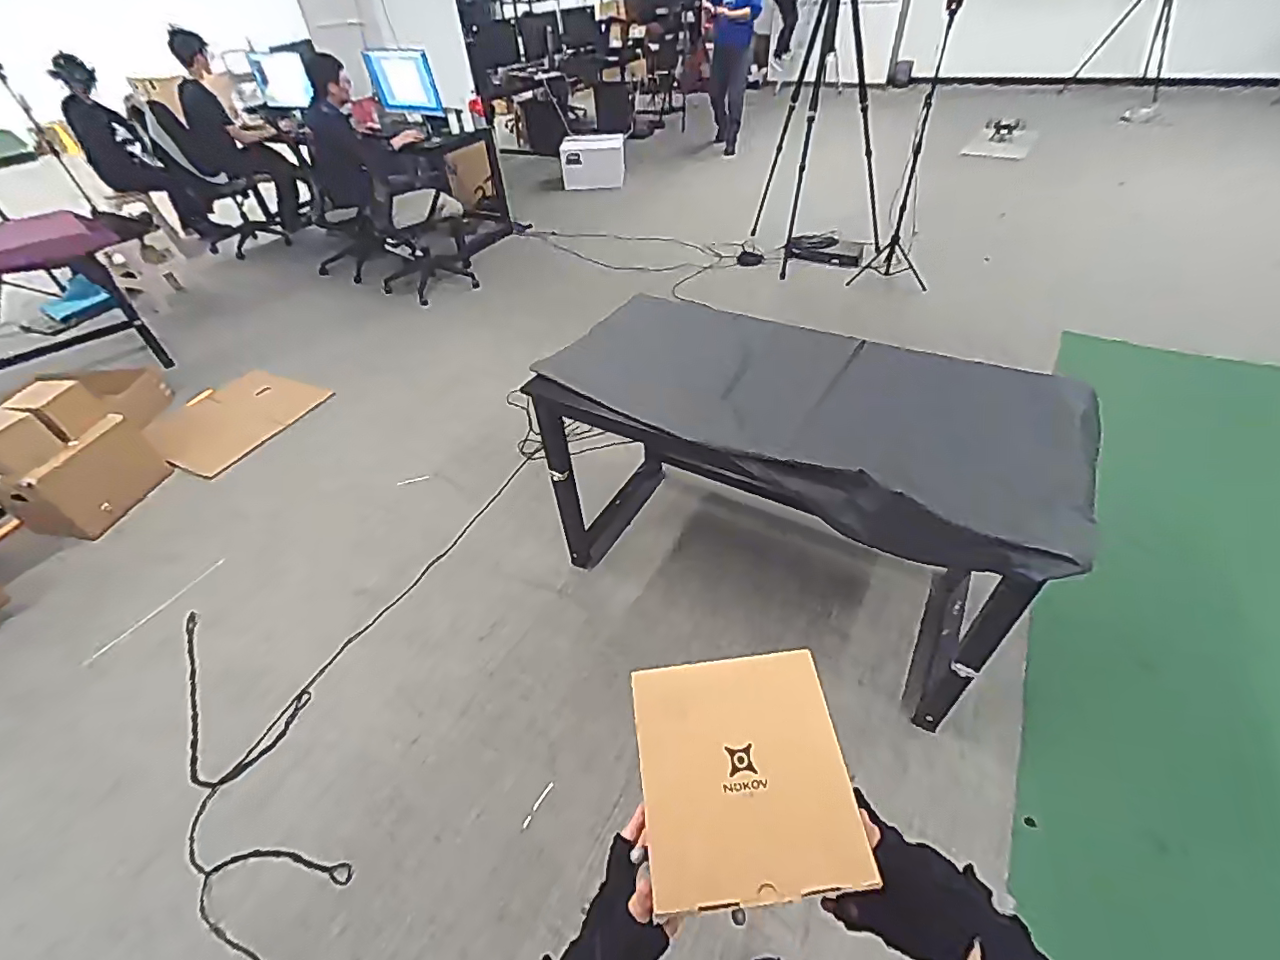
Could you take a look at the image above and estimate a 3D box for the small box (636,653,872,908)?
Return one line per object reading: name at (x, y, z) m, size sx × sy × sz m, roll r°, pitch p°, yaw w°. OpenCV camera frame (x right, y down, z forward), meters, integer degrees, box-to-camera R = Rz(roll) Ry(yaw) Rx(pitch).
small box at (0.084, 0.283, 0.508) m, size 0.168 × 0.176 × 0.179 m, roll -6°, pitch 53°, yaw -2°
